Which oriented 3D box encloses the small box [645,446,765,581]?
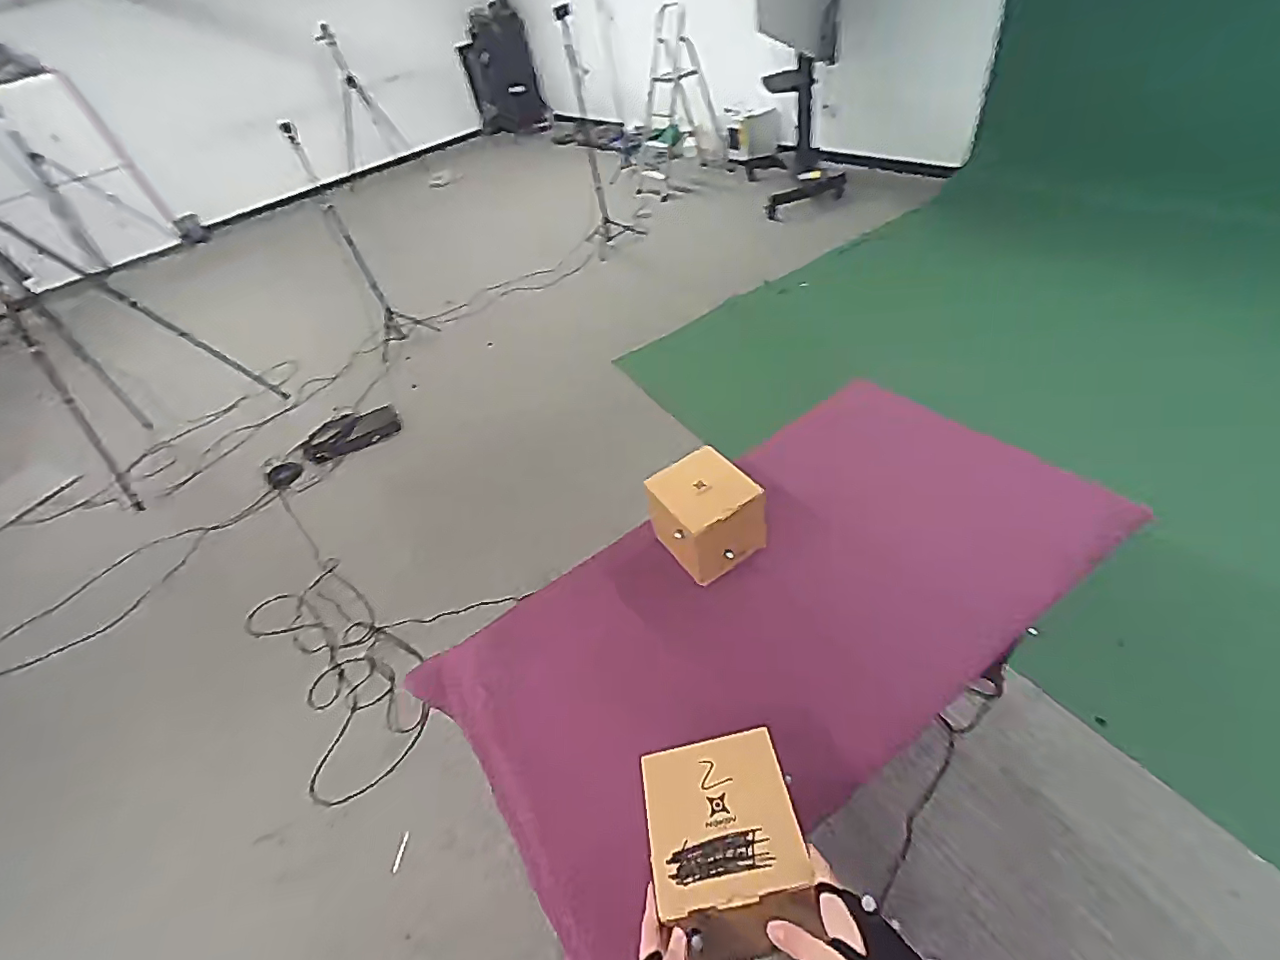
[{"bbox_3d":[0.131,0.068,1.087,0.168,0.176,0.179,-30,48,-16],"label":"small box"}]
